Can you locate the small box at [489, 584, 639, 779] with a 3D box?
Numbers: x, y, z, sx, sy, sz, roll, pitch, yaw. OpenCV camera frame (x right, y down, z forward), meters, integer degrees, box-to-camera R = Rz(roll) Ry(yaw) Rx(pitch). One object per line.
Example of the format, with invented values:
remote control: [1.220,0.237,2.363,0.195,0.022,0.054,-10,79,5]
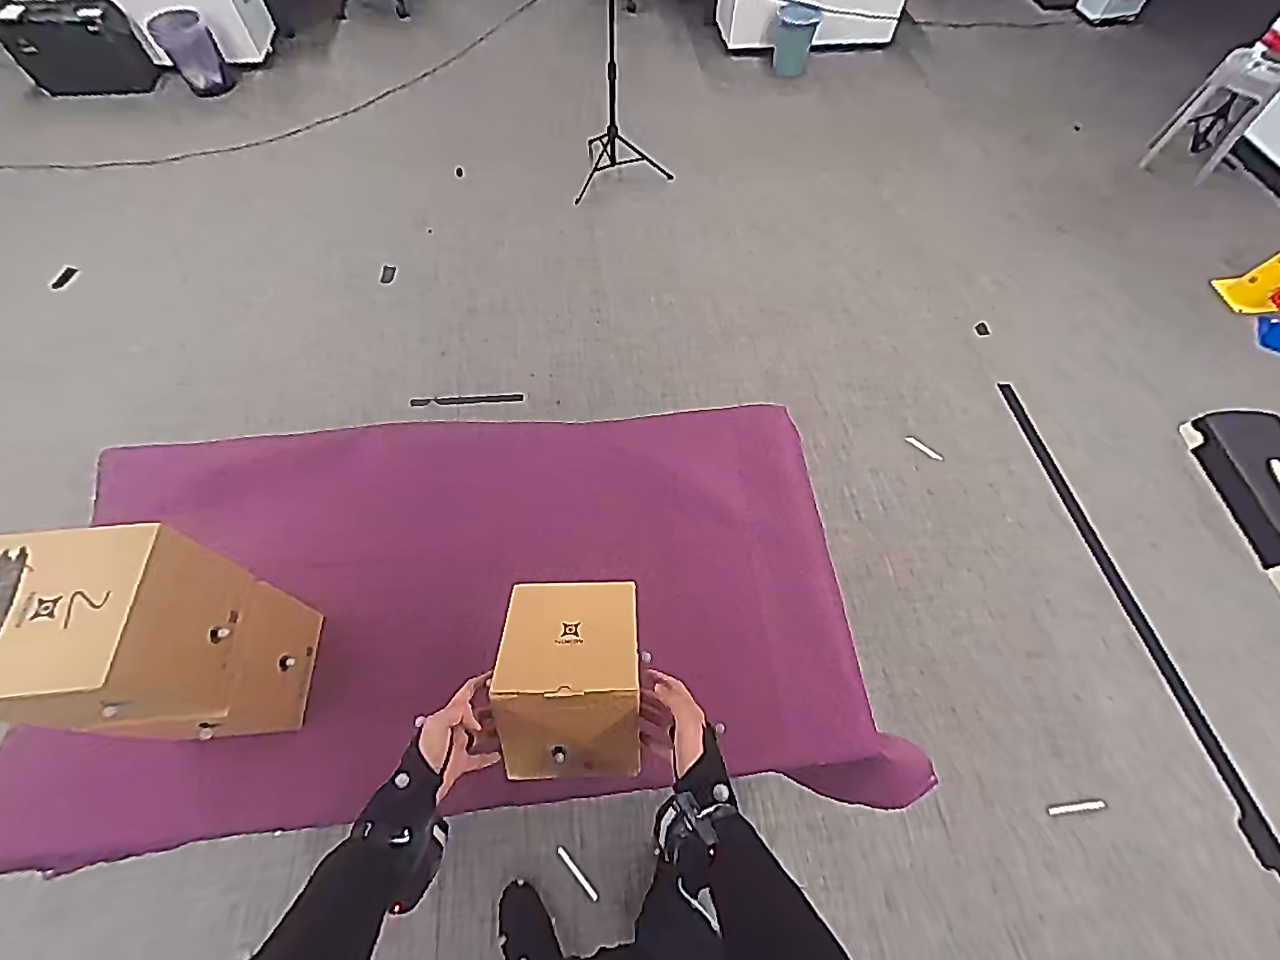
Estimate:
small box: [-0.088,0.256,0.700,0.168,0.176,0.179,0,33,-2]

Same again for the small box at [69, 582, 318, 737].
small box: [-0.568,0.244,0.724,0.179,0.176,0.168,-3,61,-4]
